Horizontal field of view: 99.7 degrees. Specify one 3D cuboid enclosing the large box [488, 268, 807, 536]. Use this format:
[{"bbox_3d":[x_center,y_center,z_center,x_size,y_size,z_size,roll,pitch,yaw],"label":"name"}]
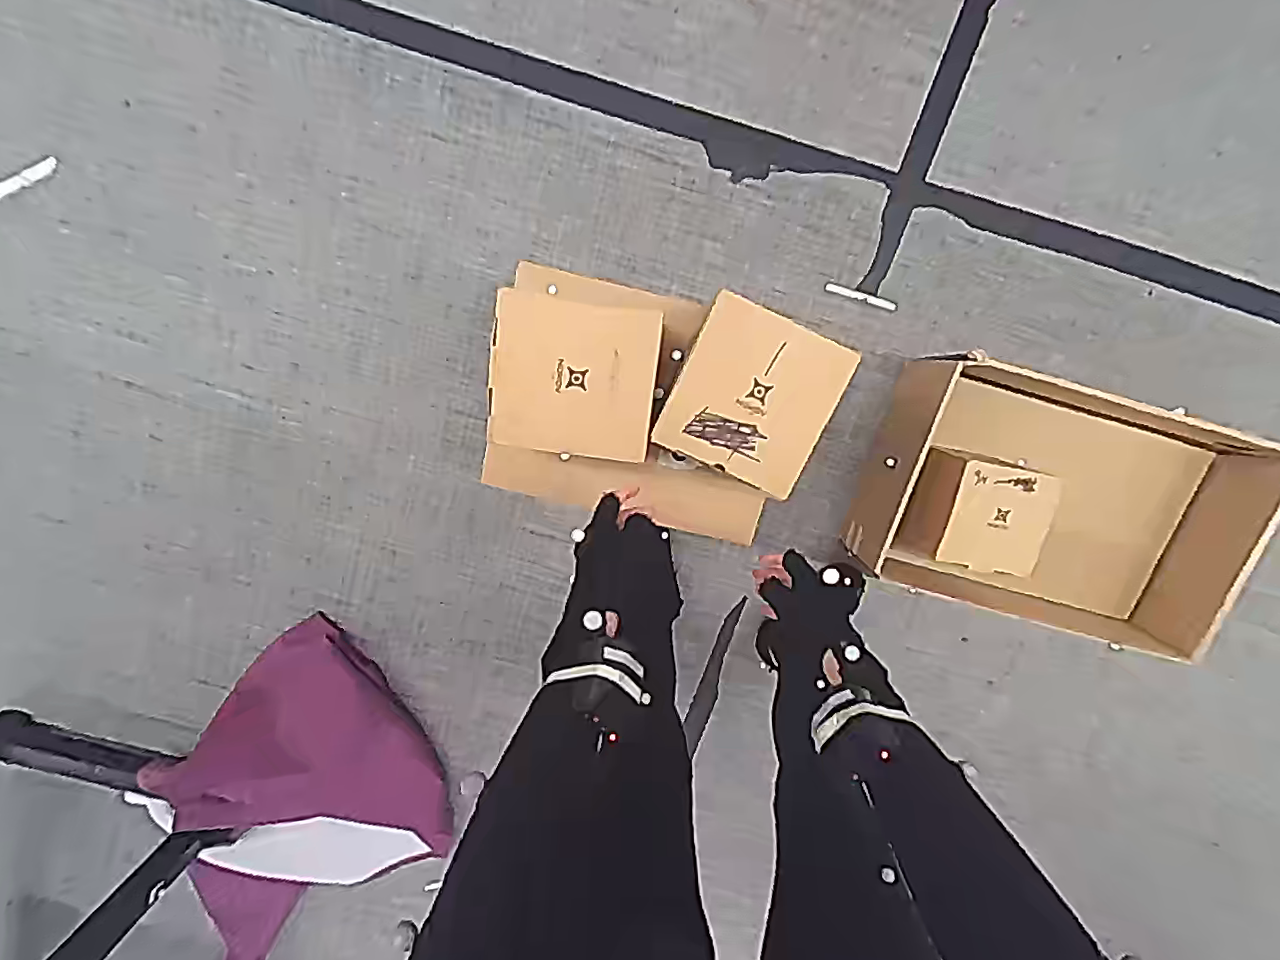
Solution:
[{"bbox_3d":[0.001,-0.130,0.901,0.408,0.320,0.320,12,103,-3],"label":"large box"}]
